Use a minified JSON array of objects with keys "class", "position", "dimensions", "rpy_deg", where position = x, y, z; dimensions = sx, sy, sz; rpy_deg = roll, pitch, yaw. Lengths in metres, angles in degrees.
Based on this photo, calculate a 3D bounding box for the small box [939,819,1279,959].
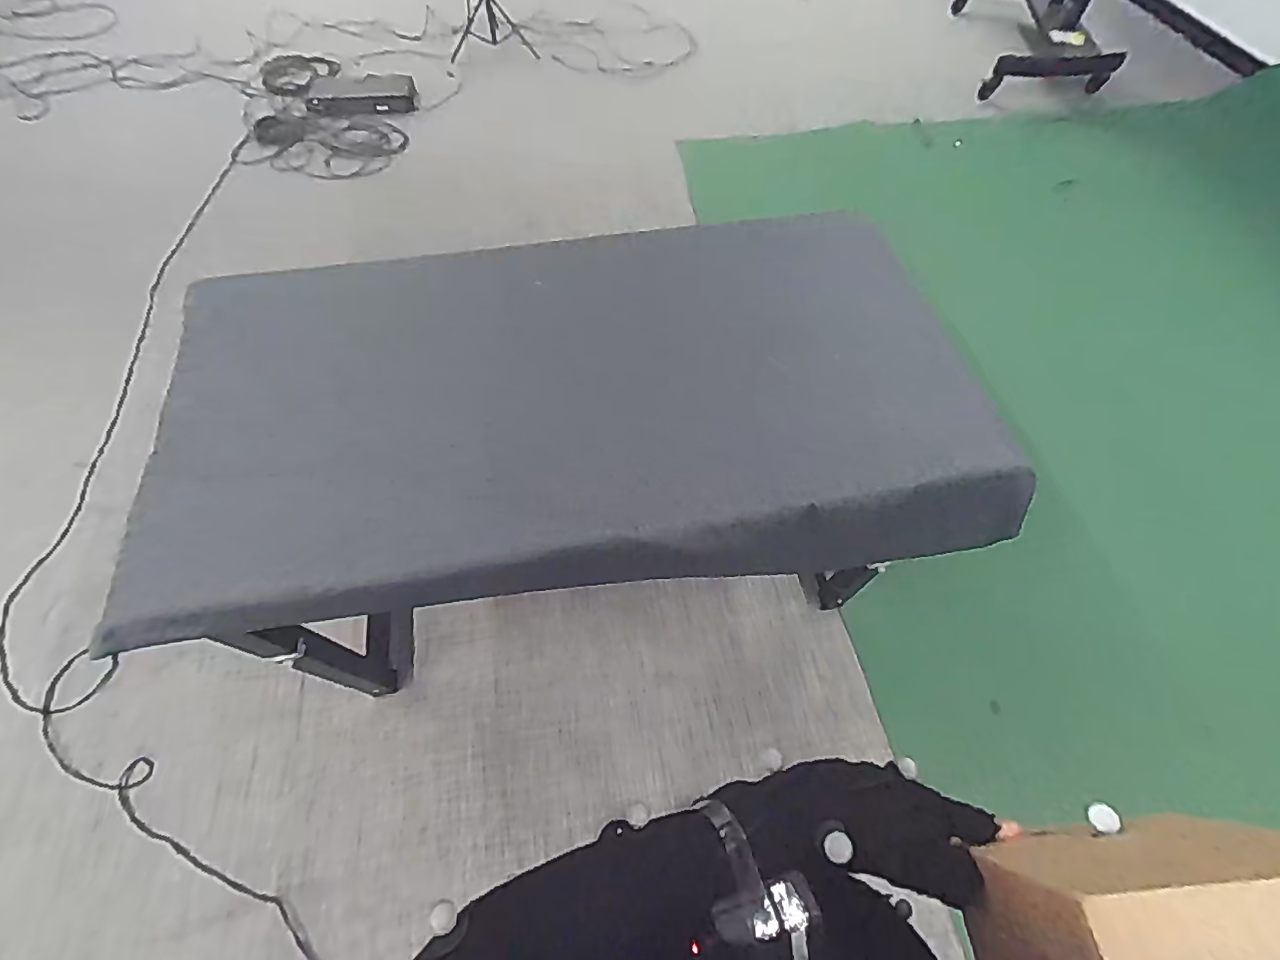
[{"class":"small box","position":[0.293,0.296,0.285],"dimensions":[0.168,0.176,0.179],"rpy_deg":[-7,63,3]}]
